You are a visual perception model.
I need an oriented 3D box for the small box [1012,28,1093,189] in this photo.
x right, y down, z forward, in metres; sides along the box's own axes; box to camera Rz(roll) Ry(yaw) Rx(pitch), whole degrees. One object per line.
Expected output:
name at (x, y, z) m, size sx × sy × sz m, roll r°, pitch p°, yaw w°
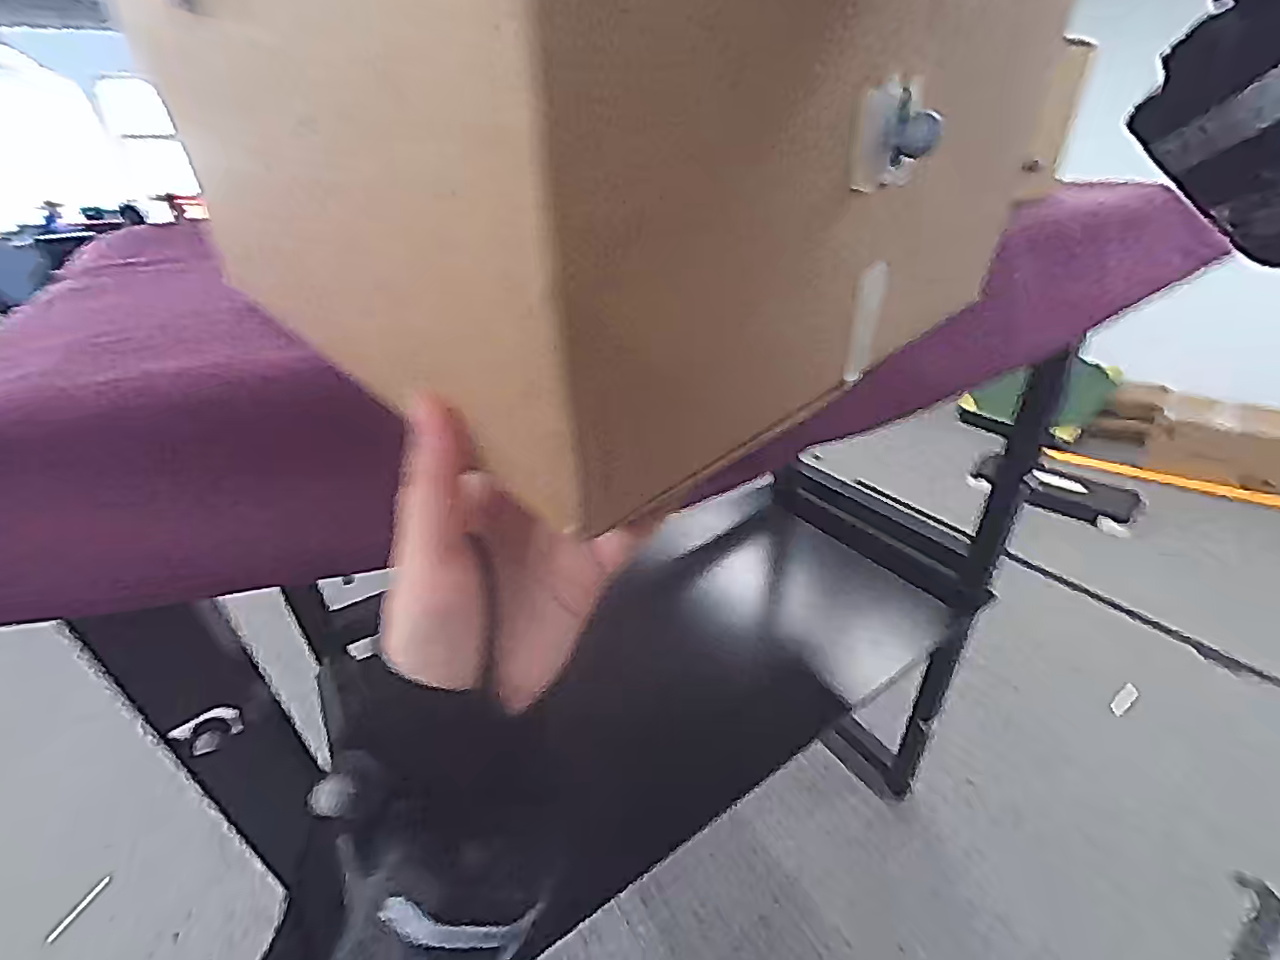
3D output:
small box at (0.441, -0.480, 0.721) m, size 0.179 × 0.176 × 0.168 m, roll -20°, pitch 34°, yaw -25°
